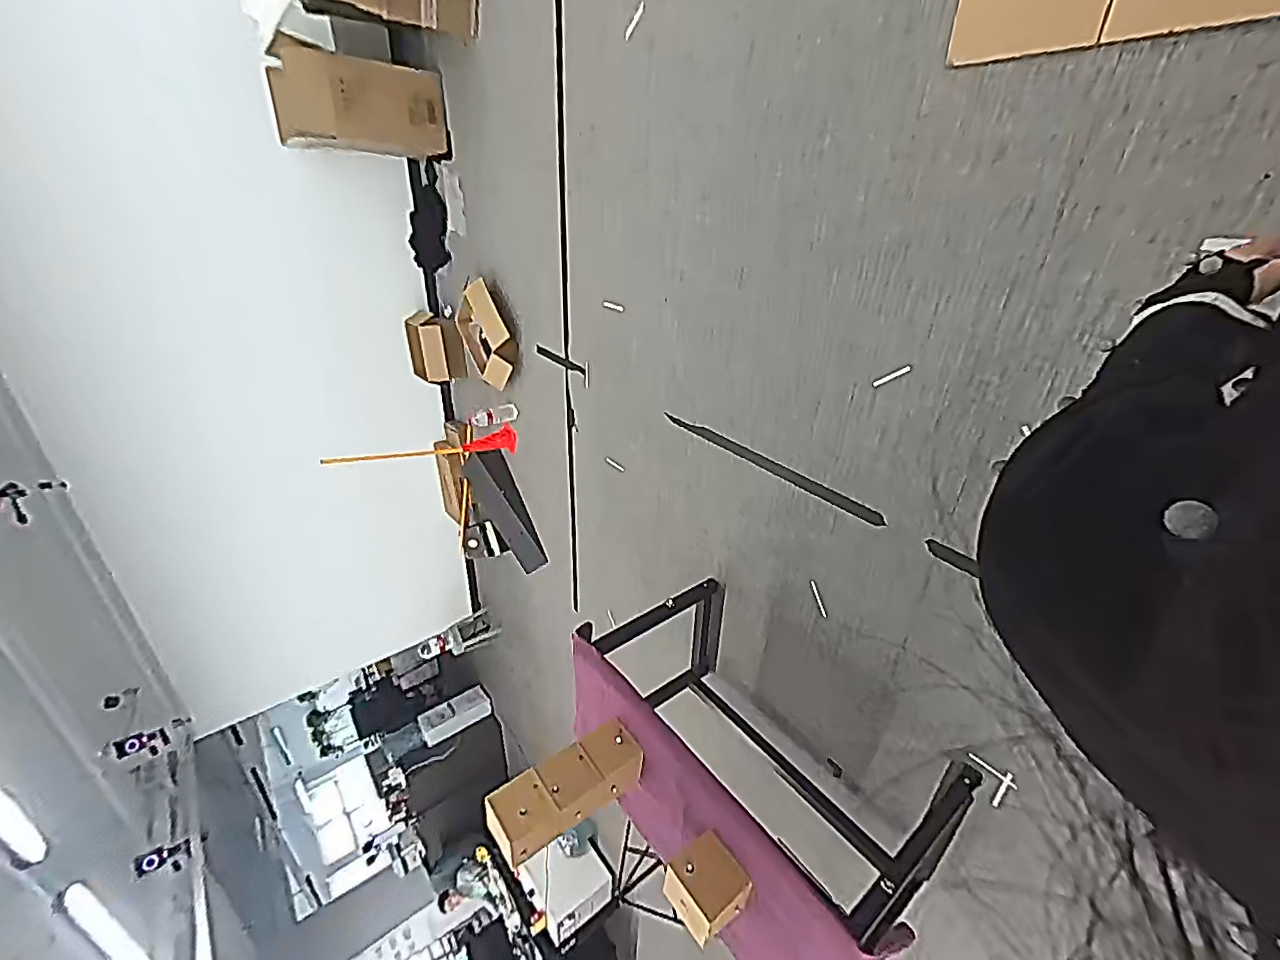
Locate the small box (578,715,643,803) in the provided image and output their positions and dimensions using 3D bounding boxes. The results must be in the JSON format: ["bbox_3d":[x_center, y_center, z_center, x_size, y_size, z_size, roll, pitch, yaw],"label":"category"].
[{"bbox_3d":[-0.104,0.960,1.872,0.168,0.176,0.179,36,132,40],"label":"small box"}]

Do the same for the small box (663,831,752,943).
[{"bbox_3d":[0.191,1.153,1.550,0.179,0.176,0.168,36,134,40],"label":"small box"}]

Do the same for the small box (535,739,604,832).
[{"bbox_3d":[-0.232,1.001,1.779,0.168,0.176,0.179,37,135,38],"label":"small box"}]

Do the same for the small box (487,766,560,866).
[{"bbox_3d":[-0.360,1.040,1.685,0.168,0.176,0.179,37,134,39],"label":"small box"}]
